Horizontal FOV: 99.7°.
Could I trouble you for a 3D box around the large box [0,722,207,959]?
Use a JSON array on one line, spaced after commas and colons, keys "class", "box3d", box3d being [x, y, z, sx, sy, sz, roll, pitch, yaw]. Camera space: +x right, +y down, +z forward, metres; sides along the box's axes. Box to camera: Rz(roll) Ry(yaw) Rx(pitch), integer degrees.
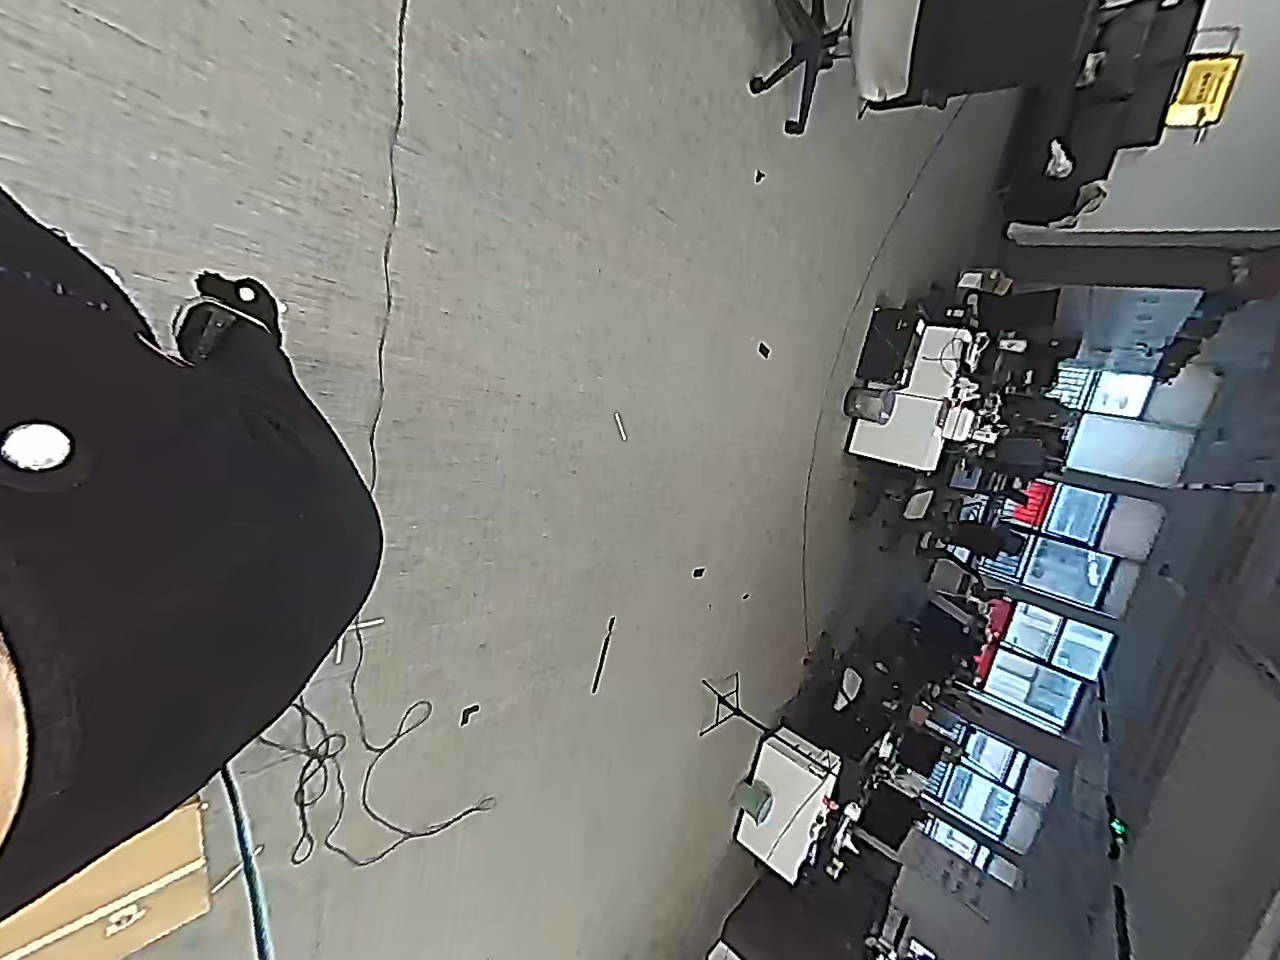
[{"class": "large box", "box3d": [-1.199, 0.789, 1.122, 0.408, 0.320, 0.320, -9, 113, -49]}]
